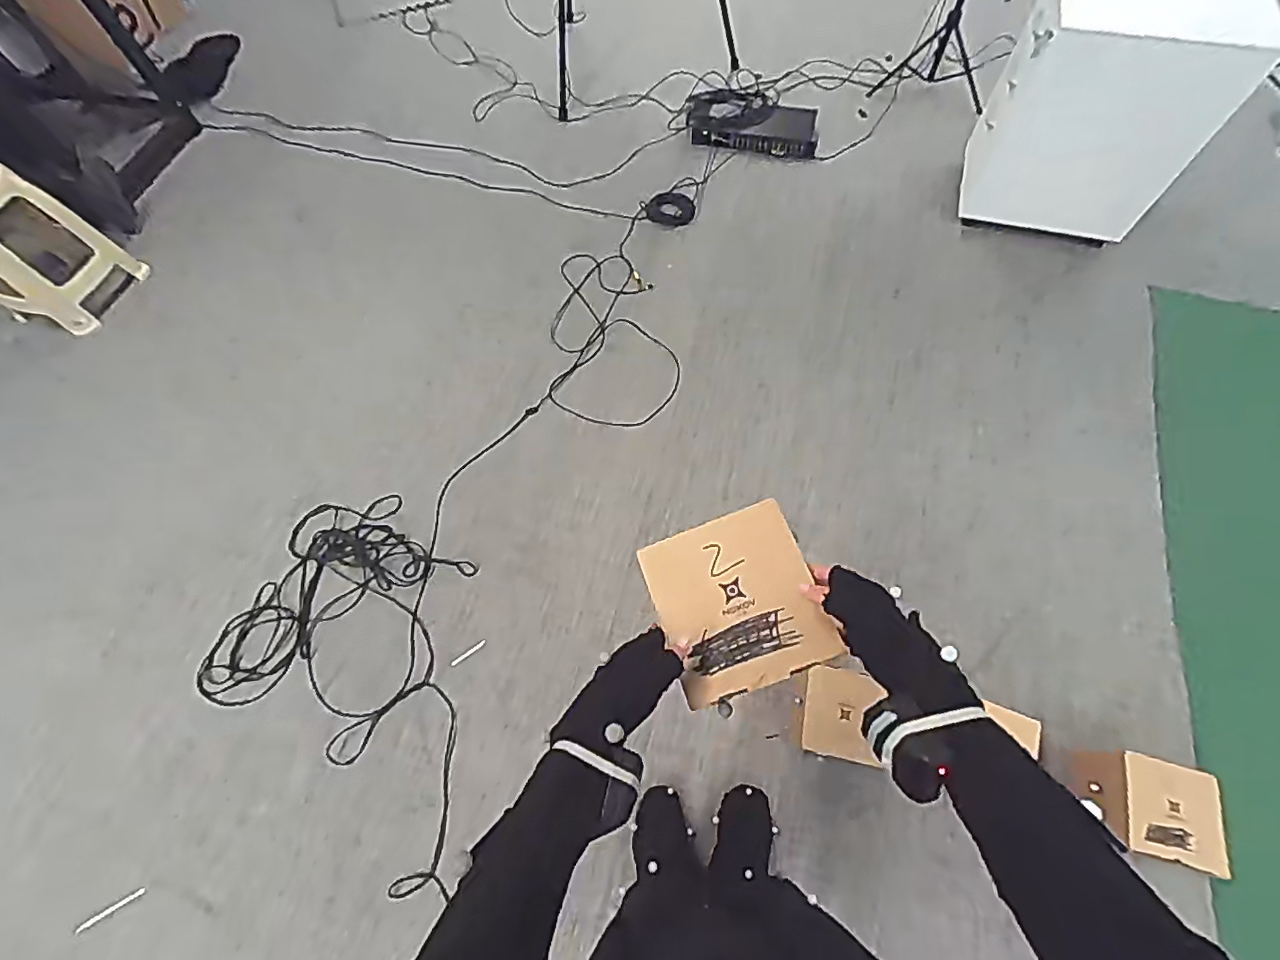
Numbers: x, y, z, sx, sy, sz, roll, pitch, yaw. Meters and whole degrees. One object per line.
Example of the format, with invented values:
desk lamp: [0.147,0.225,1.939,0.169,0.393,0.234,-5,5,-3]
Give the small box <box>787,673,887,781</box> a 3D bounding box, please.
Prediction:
small box: [0.427,0.540,1.188,0.168,0.176,0.179,10,66,10]

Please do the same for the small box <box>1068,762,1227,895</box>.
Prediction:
small box: [1.004,0.688,1.089,0.168,0.176,0.179,15,64,10]

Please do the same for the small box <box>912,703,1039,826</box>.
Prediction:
small box: [0.704,0.597,1.148,0.168,0.176,0.179,19,66,12]
